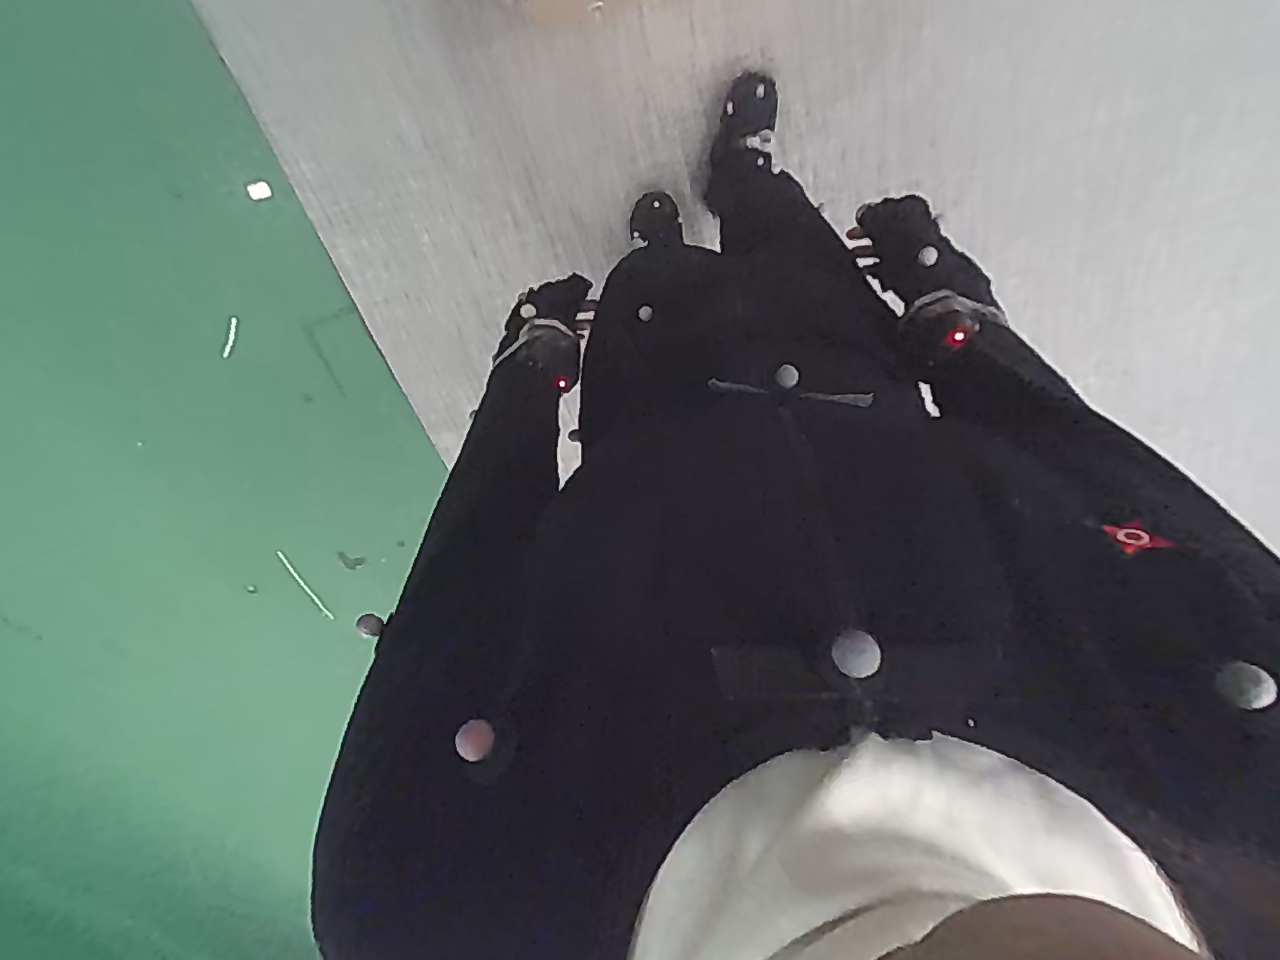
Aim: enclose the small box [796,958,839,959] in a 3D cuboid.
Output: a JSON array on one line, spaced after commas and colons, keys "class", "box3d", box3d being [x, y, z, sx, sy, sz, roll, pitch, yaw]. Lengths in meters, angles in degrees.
[{"class": "small box", "box3d": [0.555, 1.587, 1.644, 0.168, 0.176, 0.179, -15, 121, 11]}]
